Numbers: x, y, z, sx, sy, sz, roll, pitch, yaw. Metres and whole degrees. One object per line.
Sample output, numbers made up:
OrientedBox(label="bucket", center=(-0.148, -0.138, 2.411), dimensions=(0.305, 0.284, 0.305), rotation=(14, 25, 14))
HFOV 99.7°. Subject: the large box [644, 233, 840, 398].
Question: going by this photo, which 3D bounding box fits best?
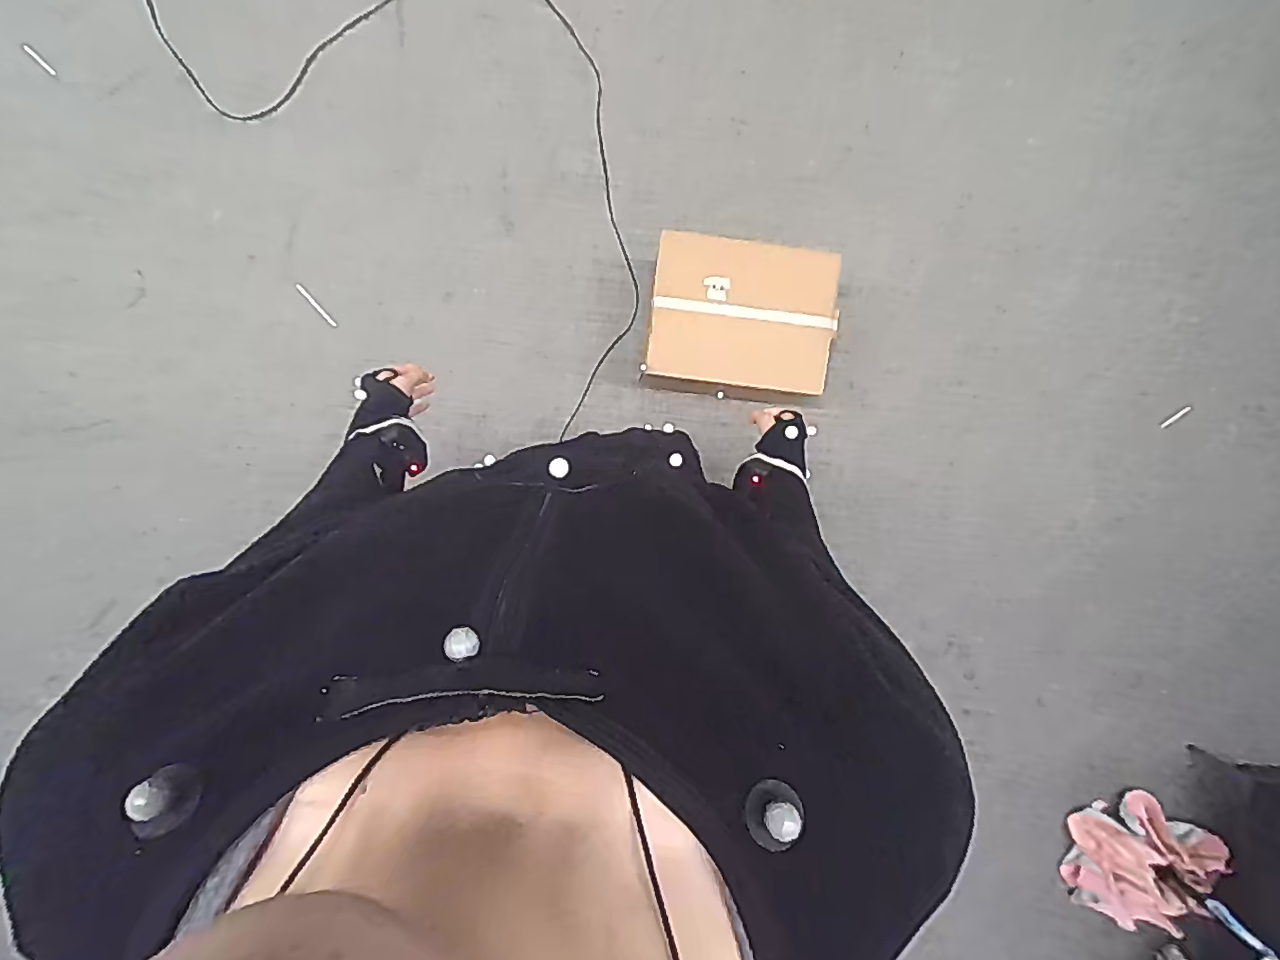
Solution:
OrientedBox(label="large box", center=(0.227, -0.381, 1.339), dimensions=(0.408, 0.320, 0.320), rotation=(7, 94, -1))
